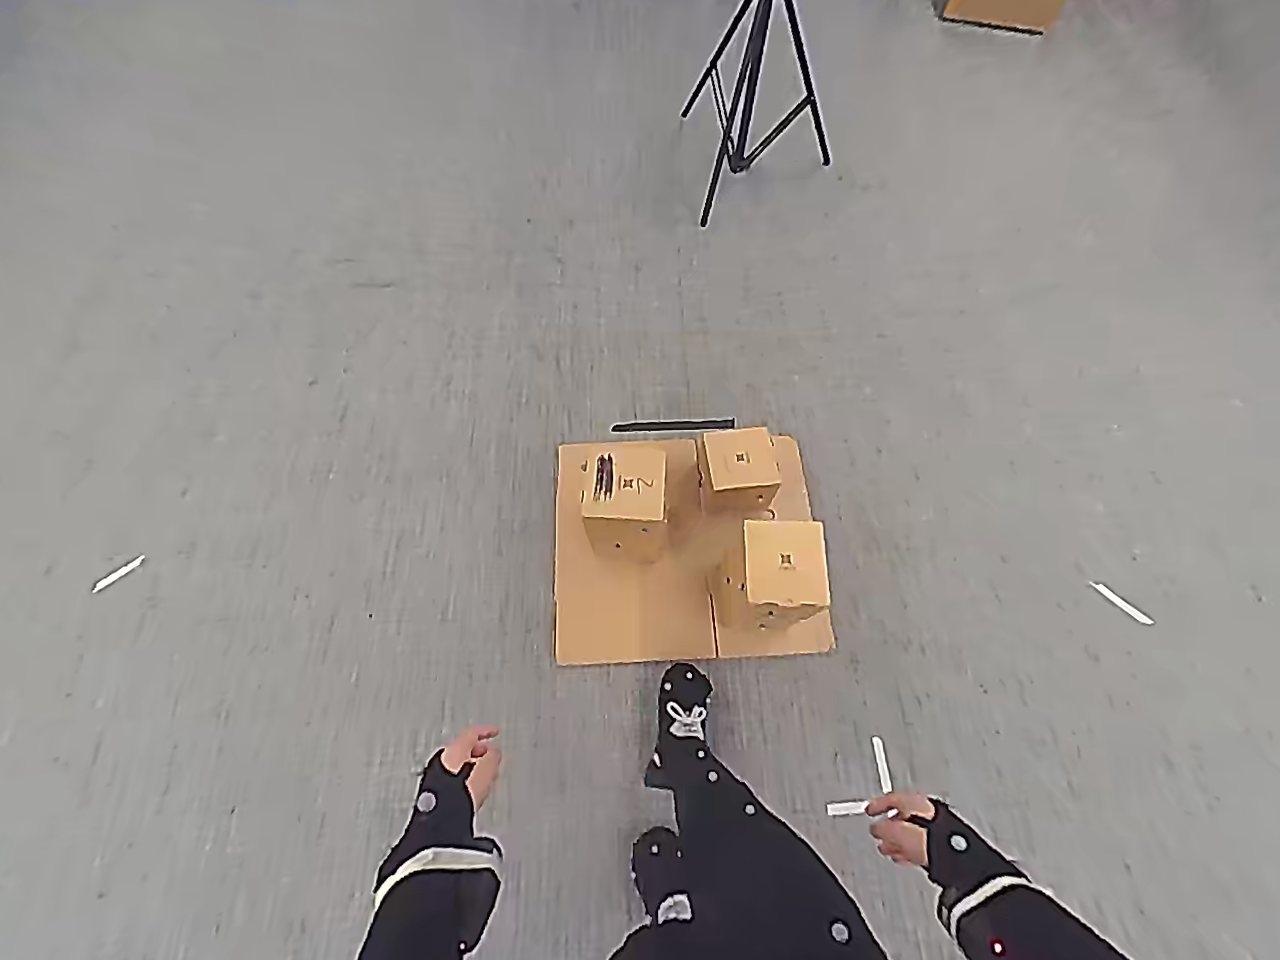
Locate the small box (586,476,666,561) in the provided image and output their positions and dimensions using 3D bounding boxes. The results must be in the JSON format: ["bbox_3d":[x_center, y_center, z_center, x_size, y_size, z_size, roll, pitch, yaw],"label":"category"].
[{"bbox_3d":[-0.030,0.102,1.381,0.179,0.176,0.168,6,67,4],"label":"small box"}]

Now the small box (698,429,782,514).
[{"bbox_3d":[0.258,-0.019,1.437,0.179,0.176,0.168,-6,66,-2],"label":"small box"}]

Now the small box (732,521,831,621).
[{"bbox_3d":[0.294,0.199,1.163,0.168,0.176,0.179,1,68,1],"label":"small box"}]
